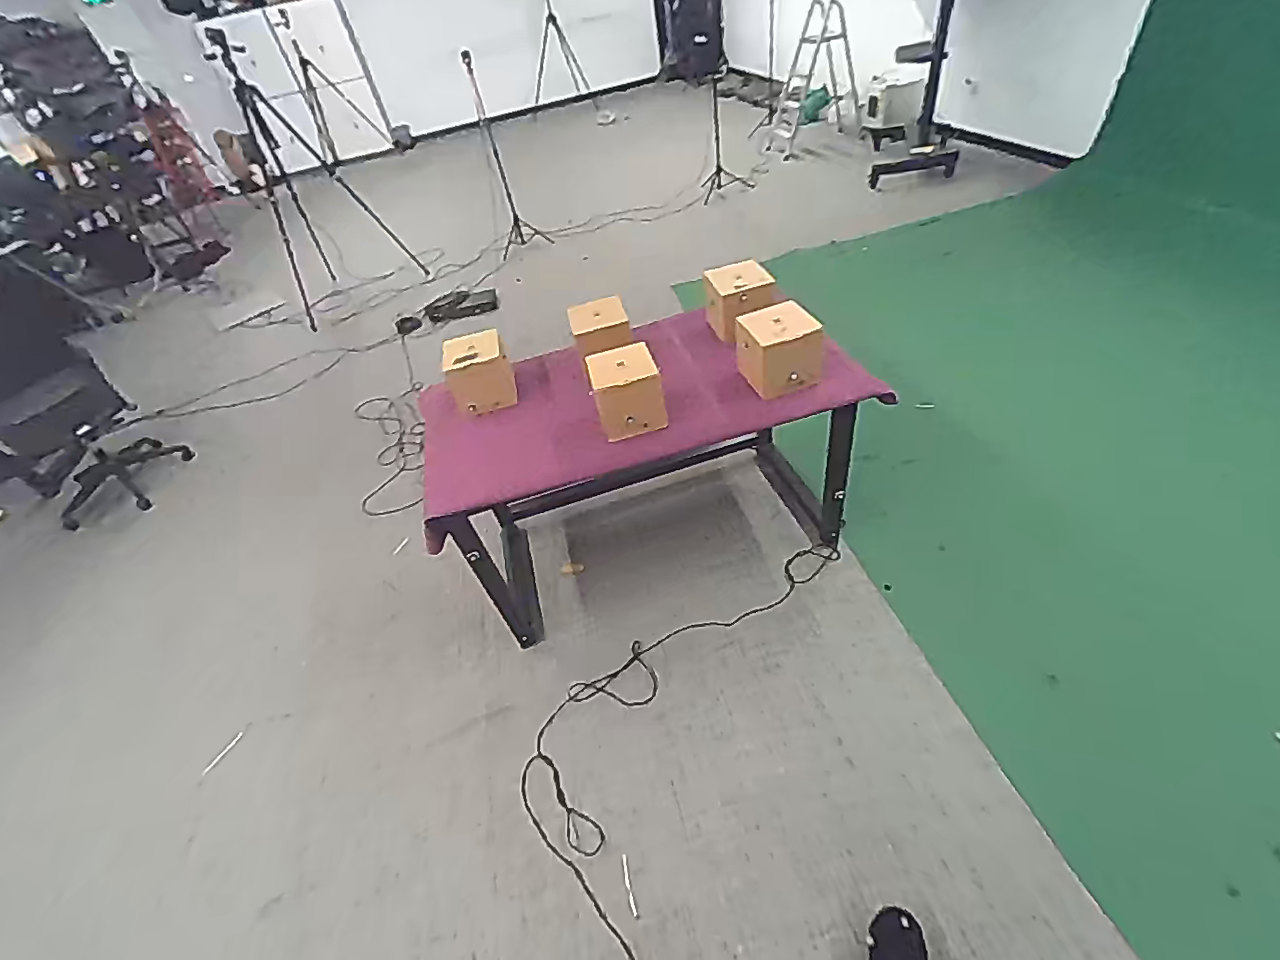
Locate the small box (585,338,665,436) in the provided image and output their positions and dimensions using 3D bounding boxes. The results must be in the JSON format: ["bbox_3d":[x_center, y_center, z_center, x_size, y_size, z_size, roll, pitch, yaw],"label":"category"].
[{"bbox_3d":[-0.038,-0.242,1.416,0.168,0.176,0.179,-15,45,-4],"label":"small box"}]

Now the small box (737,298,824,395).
[{"bbox_3d":[0.367,-0.353,1.436,0.168,0.176,0.179,-18,45,-4],"label":"small box"}]

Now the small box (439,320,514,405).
[{"bbox_3d":[-0.479,-0.338,1.593,0.168,0.176,0.179,-15,46,-4],"label":"small box"}]

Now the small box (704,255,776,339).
[{"bbox_3d":[0.302,-0.558,1.653,0.168,0.176,0.179,-16,45,-3],"label":"small box"}]

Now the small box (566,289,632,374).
[{"bbox_3d":[-0.119,-0.446,1.632,0.168,0.176,0.179,-15,46,-2],"label":"small box"}]
